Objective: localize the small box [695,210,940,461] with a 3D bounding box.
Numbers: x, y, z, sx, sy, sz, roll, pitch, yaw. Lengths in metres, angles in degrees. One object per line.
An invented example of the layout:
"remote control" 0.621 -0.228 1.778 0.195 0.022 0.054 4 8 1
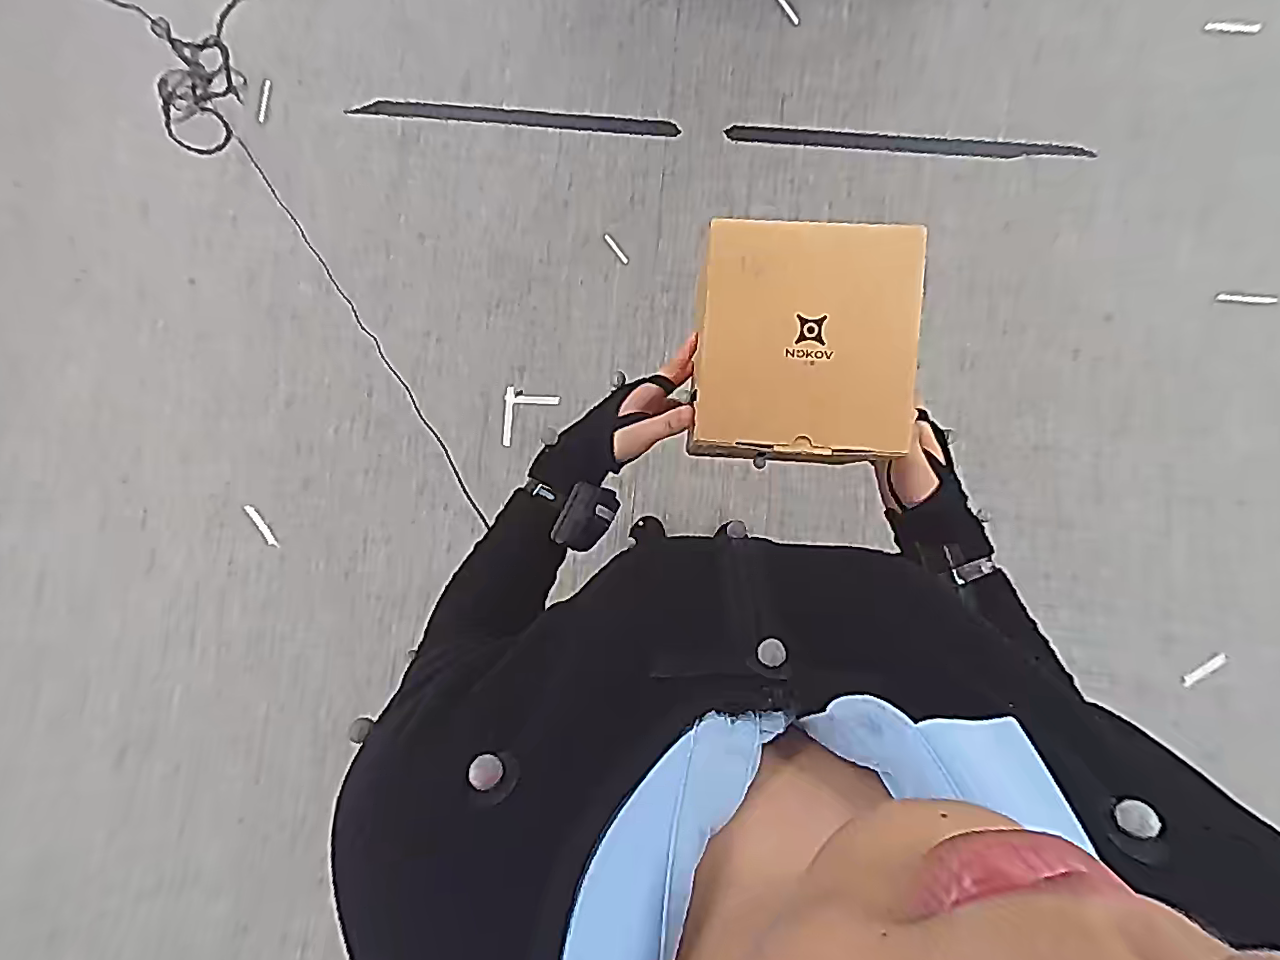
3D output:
"small box" 0.139 -0.111 0.484 0.168 0.176 0.179 4 91 2
